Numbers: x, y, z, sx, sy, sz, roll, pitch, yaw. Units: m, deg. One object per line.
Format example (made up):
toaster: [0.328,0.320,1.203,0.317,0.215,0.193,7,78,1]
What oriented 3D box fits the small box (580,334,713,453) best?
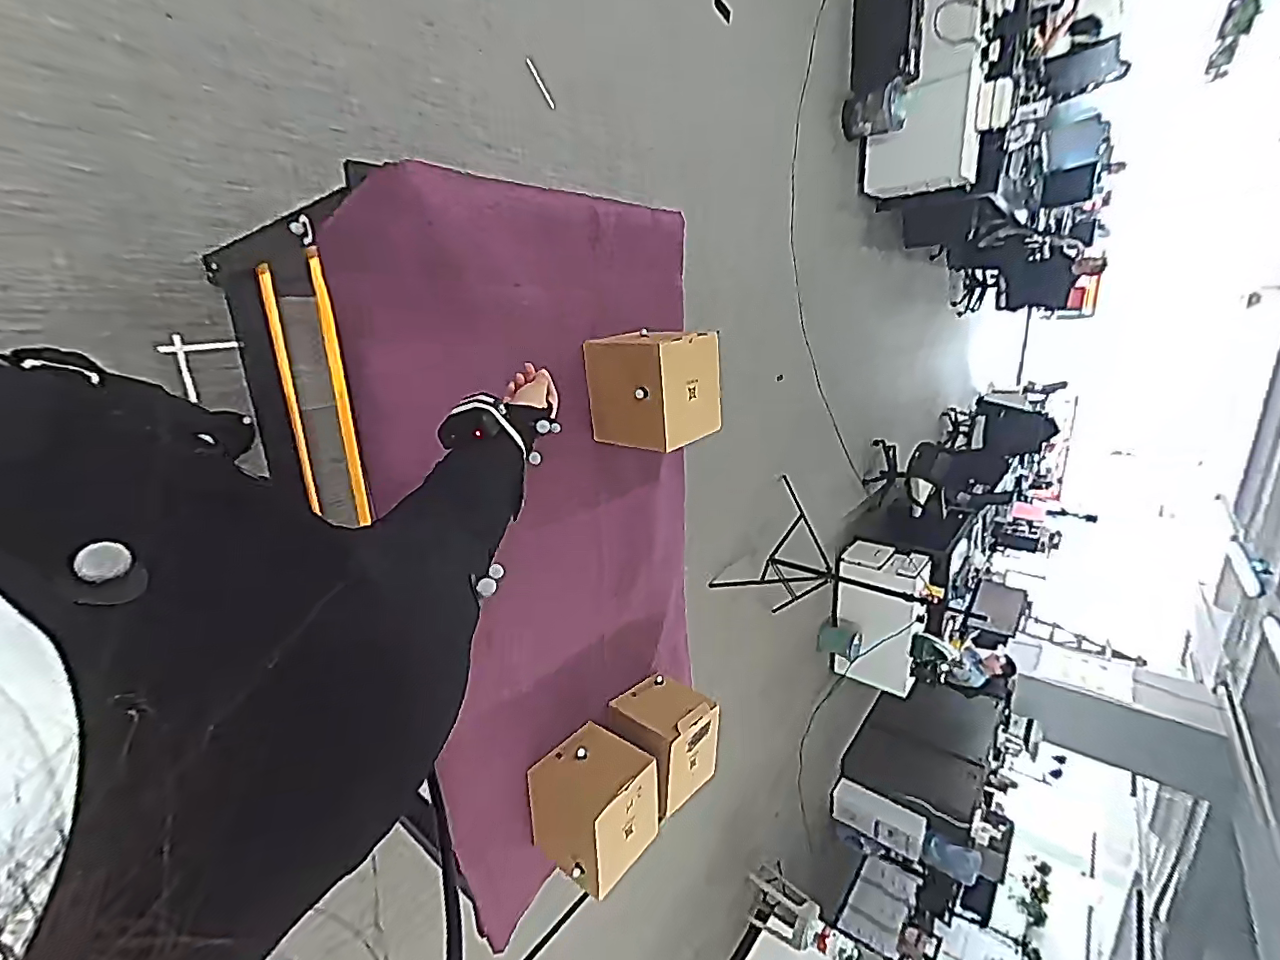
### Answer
small box: [0.012,-0.161,0.954,0.168,0.176,0.179,-25,118,-46]

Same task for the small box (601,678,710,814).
small box: [0.029,0.543,1.140,0.168,0.176,0.179,-11,108,-48]

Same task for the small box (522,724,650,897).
small box: [-0.099,0.591,0.993,0.168,0.176,0.179,-19,112,-50]
